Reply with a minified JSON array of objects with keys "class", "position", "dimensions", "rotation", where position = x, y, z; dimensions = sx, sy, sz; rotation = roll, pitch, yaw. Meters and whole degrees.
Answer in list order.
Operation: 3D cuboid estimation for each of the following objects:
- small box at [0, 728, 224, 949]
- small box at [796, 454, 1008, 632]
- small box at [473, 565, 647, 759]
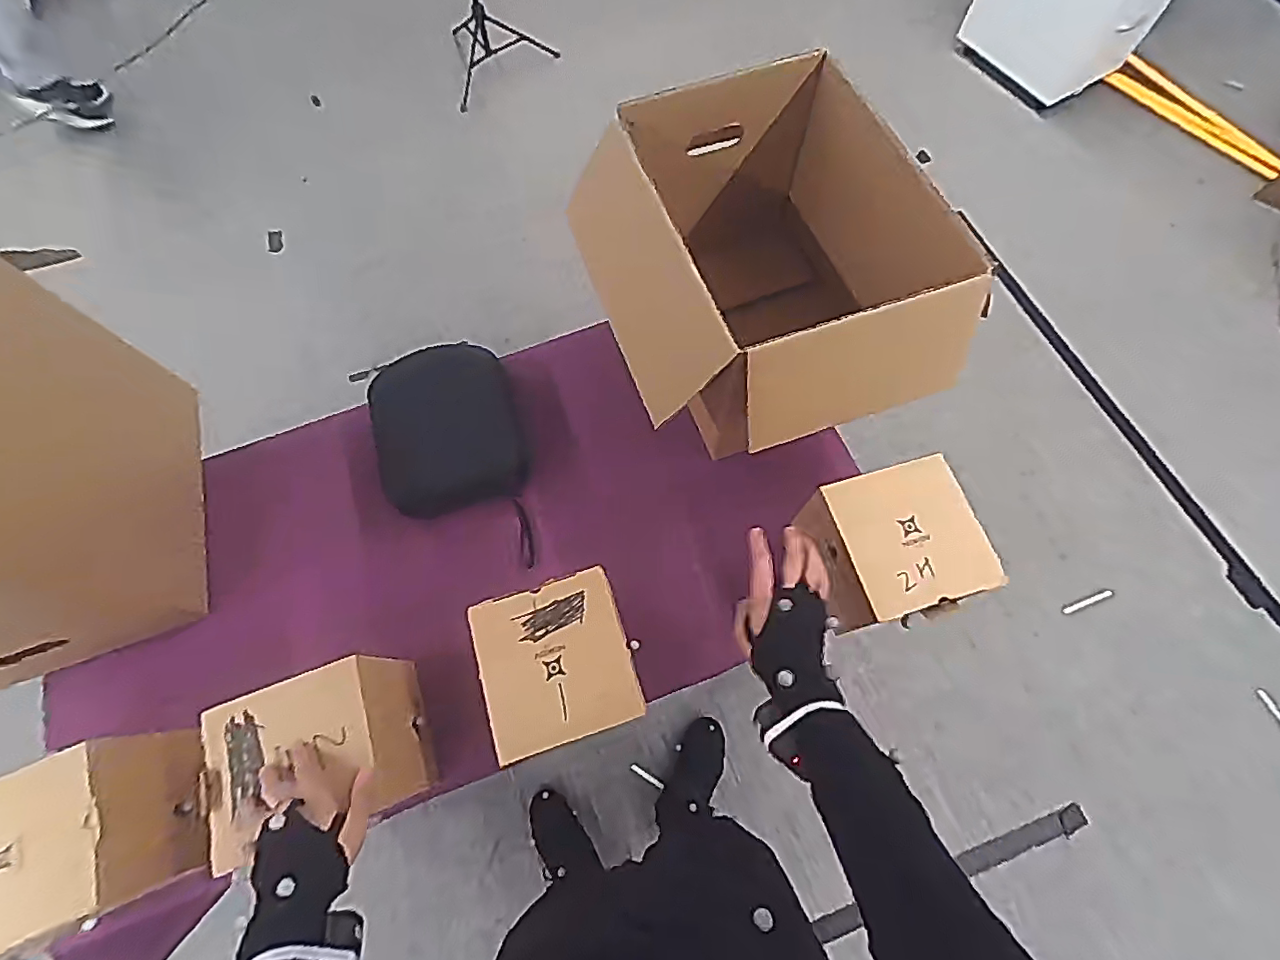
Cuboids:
[{"class":"small box","position":[-0.643,0.410,0.633],"dimensions":[0.179,0.176,0.168],"rotation":[-23,70,-8]},{"class":"small box","position":[0.328,0.091,0.723],"dimensions":[0.168,0.176,0.179],"rotation":[-15,70,-3]},{"class":"small box","position":[-0.094,0.228,0.686],"dimensions":[0.168,0.176,0.179],"rotation":[-17,71,-5]}]
